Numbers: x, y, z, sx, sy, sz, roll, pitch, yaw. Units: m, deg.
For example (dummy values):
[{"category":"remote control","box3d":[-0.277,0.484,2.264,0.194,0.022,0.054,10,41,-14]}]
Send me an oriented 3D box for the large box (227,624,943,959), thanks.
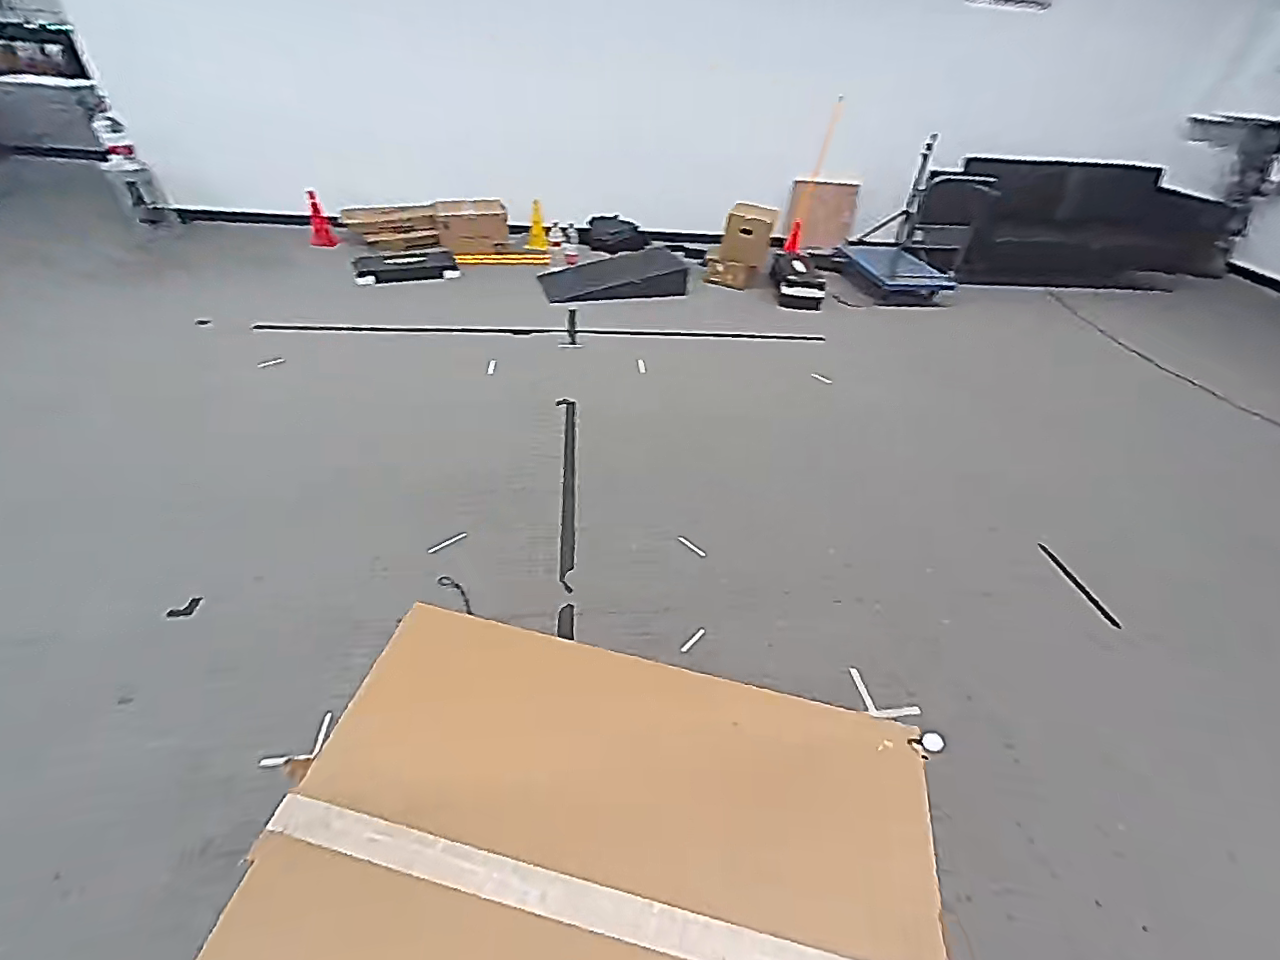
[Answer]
[{"category":"large box","box3d":[-0.032,0.362,0.428,0.408,0.320,0.320,12,47,6]}]
